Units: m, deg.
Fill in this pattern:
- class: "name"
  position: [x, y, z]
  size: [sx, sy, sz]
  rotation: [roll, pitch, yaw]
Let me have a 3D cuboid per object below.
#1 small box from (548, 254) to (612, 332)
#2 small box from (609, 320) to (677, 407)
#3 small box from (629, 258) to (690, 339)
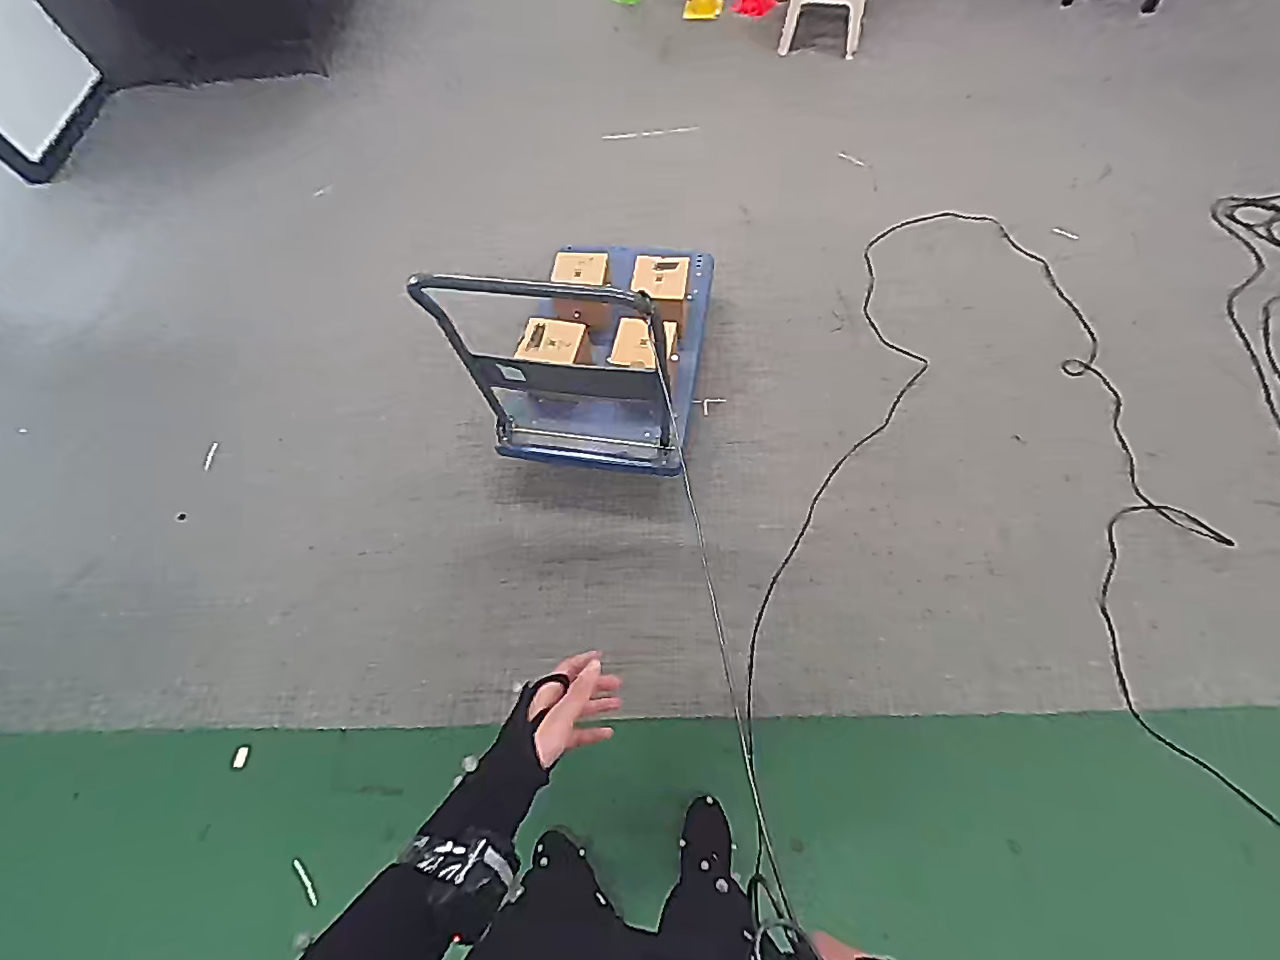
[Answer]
- class: "small box"
  position: [-0.186, -0.601, 1.749]
  size: [0.168, 0.176, 0.179]
  rotation: [4, 64, 6]
- class: "small box"
  position: [0.014, -0.345, 1.610]
  size: [0.168, 0.176, 0.179]
  rotation: [9, 66, 9]
- class: "small box"
  position: [0.066, -0.574, 1.715]
  size: [0.168, 0.176, 0.179]
  rotation: [6, 66, 8]
